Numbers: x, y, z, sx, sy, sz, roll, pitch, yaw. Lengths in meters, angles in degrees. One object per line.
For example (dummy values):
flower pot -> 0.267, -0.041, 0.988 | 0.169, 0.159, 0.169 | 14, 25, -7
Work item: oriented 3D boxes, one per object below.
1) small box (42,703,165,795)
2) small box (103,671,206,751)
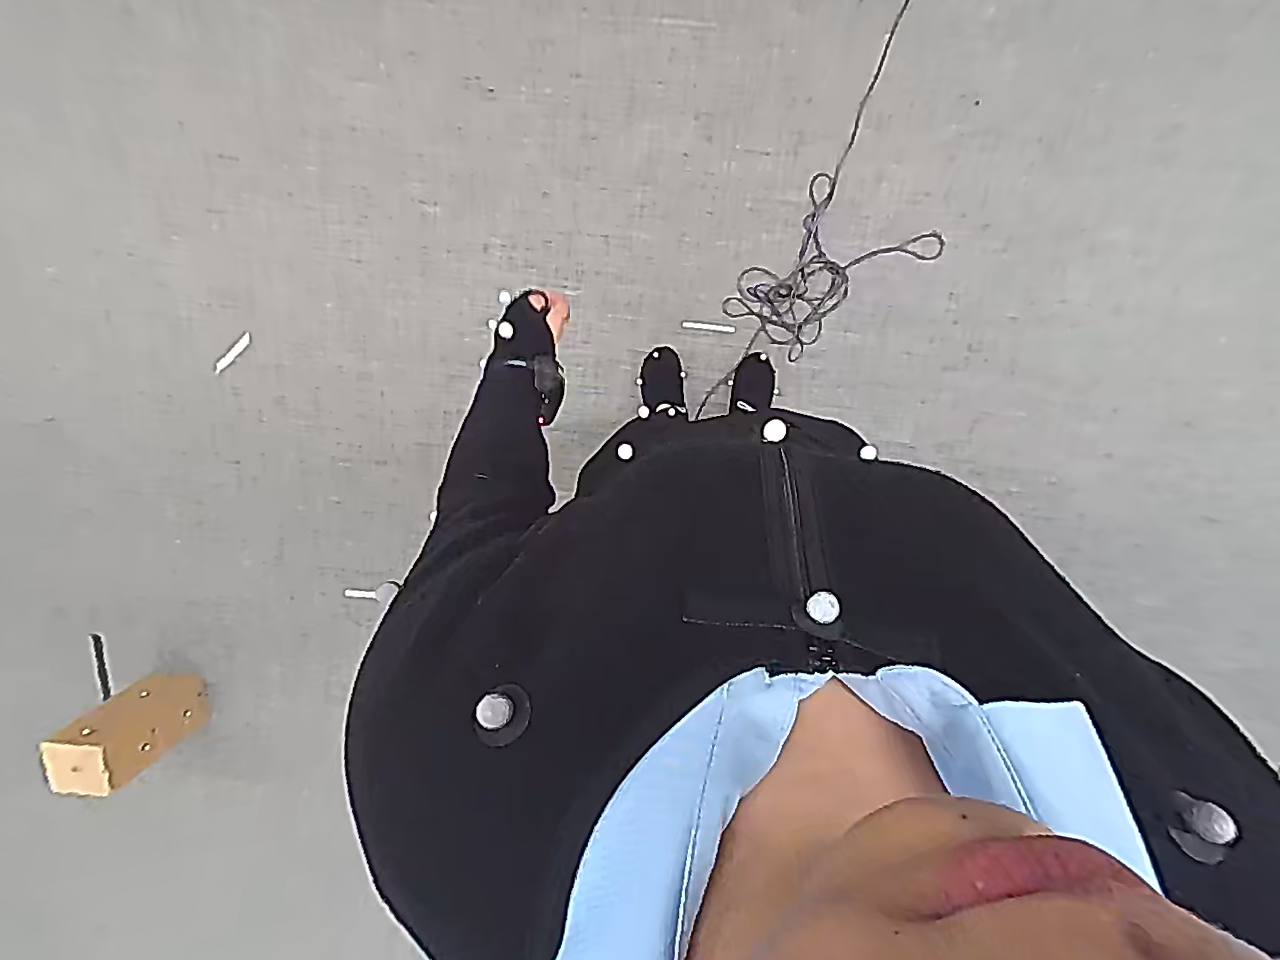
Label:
small box -> -1.535, 0.767, 1.557 | 0.179, 0.176, 0.168 | 3, 104, 2
small box -> -1.523, 0.728, 1.714 | 0.179, 0.176, 0.168 | 3, 104, 4
